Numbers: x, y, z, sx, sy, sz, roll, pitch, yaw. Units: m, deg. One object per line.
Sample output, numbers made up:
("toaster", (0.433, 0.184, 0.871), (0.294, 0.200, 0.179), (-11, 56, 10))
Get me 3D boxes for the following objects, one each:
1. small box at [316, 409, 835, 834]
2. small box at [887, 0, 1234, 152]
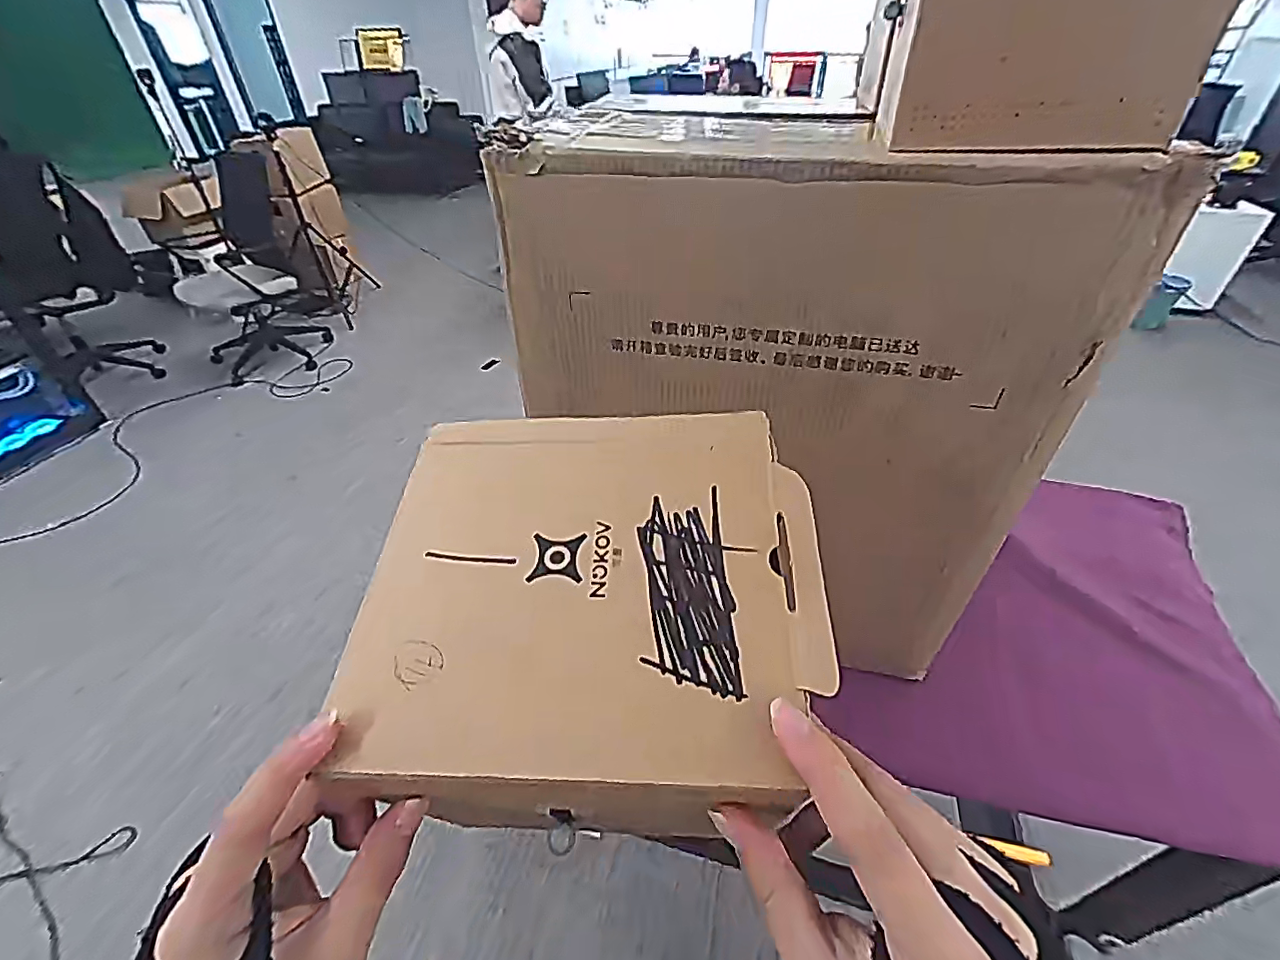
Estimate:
("small box", (-0.015, 0.080, 0.287), (0.179, 0.176, 0.168), (-1, 52, 5))
("small box", (0.285, -0.340, 0.382), (0.179, 0.176, 0.168), (8, 41, 13))
